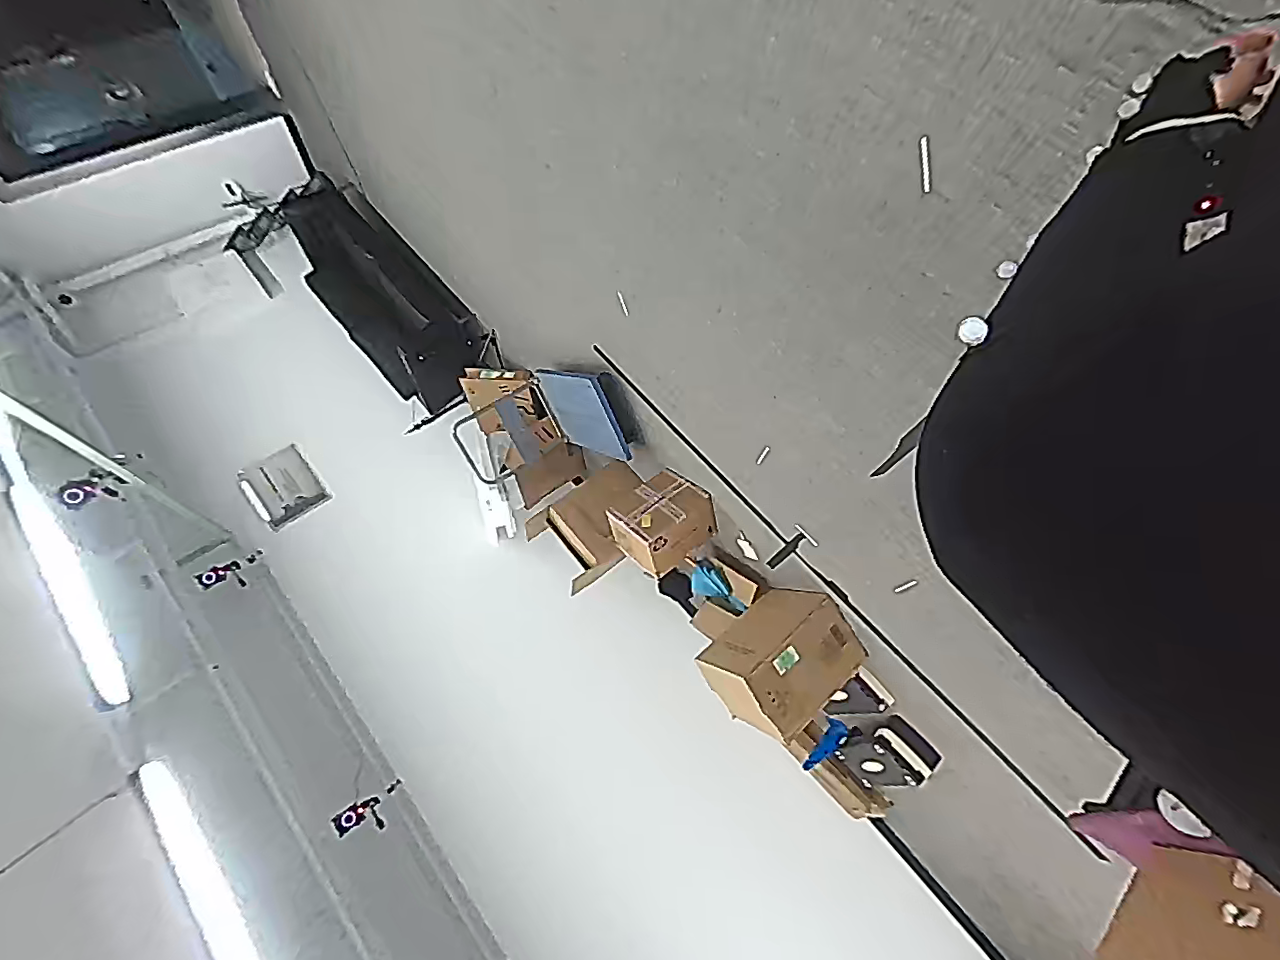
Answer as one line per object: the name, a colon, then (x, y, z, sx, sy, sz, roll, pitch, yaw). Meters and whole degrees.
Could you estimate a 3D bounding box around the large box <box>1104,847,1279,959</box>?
large box: (0.891, 0.750, 0.653, 0.408, 0.320, 0.320, 45, 158, 16)
